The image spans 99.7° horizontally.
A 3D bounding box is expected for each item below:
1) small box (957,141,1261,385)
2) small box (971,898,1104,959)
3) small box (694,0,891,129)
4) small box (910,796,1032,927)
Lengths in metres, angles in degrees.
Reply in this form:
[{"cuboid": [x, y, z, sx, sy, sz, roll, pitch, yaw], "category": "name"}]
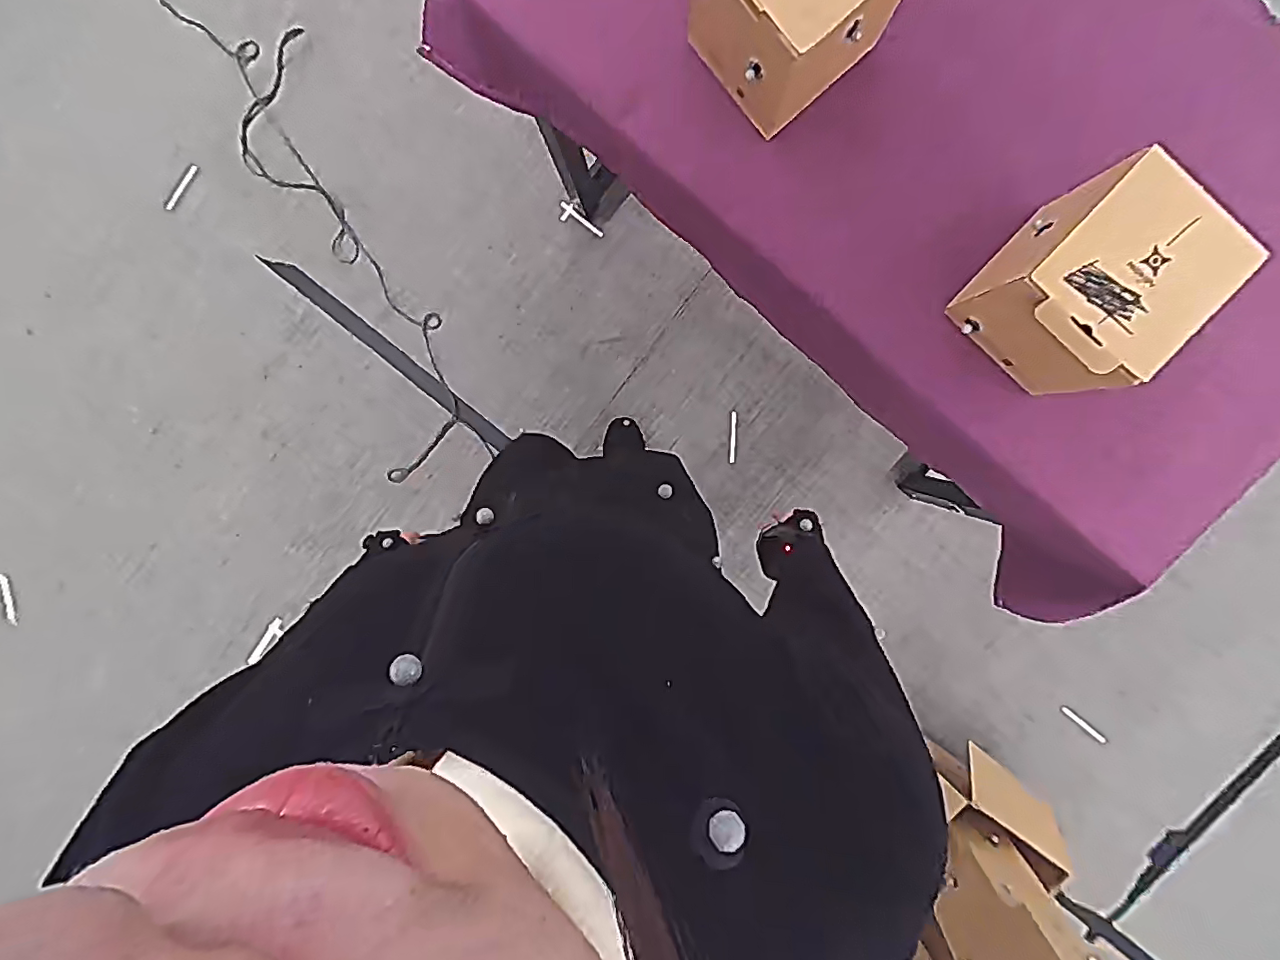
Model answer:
[{"cuboid": [0.509, -0.228, 0.626, 0.168, 0.176, 0.179, 42, 95, -3], "category": "small box"}, {"cuboid": [0.739, 0.911, 0.964, 0.168, 0.176, 0.179, 32, 100, 3], "category": "small box"}, {"cuboid": [0.173, -0.548, 0.605, 0.179, 0.176, 0.168, -39, 94, 6], "category": "small box"}, {"cuboid": [0.777, 0.905, 1.293, 0.168, 0.176, 0.179, 18, 100, 4], "category": "small box"}]
